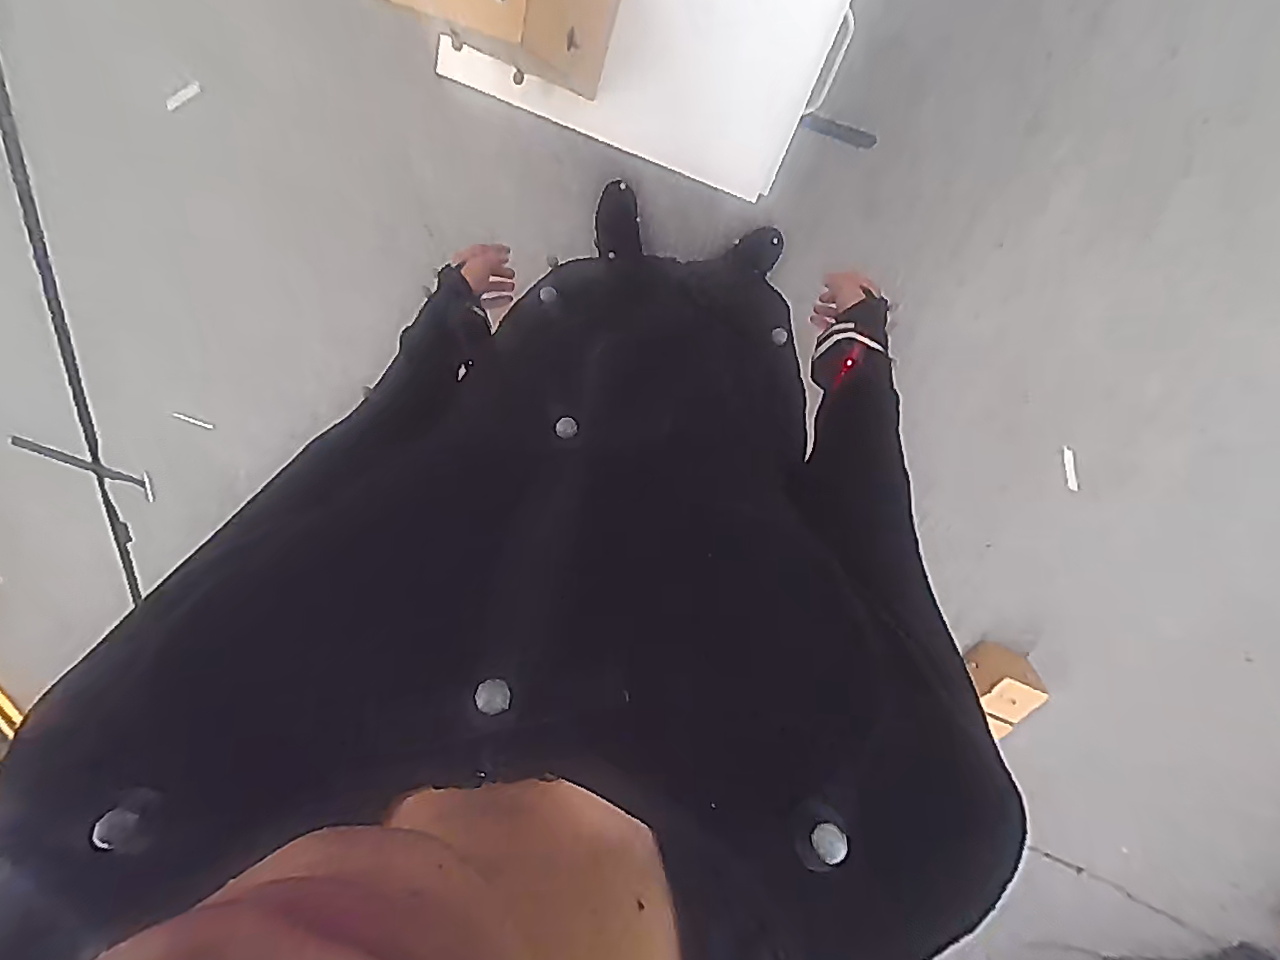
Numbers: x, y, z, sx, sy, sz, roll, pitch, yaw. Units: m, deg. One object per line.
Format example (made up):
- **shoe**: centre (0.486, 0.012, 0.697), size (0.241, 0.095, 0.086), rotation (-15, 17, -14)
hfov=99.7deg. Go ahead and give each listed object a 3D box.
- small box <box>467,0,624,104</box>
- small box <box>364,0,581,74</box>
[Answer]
- **small box**: centre (-0.121, -0.598, 0.662), size (0.168, 0.176, 0.179), rotation (22, 120, -3)
- **small box**: centre (-0.150, -0.520, 0.520), size (0.179, 0.176, 0.168), rotation (19, 119, 0)
